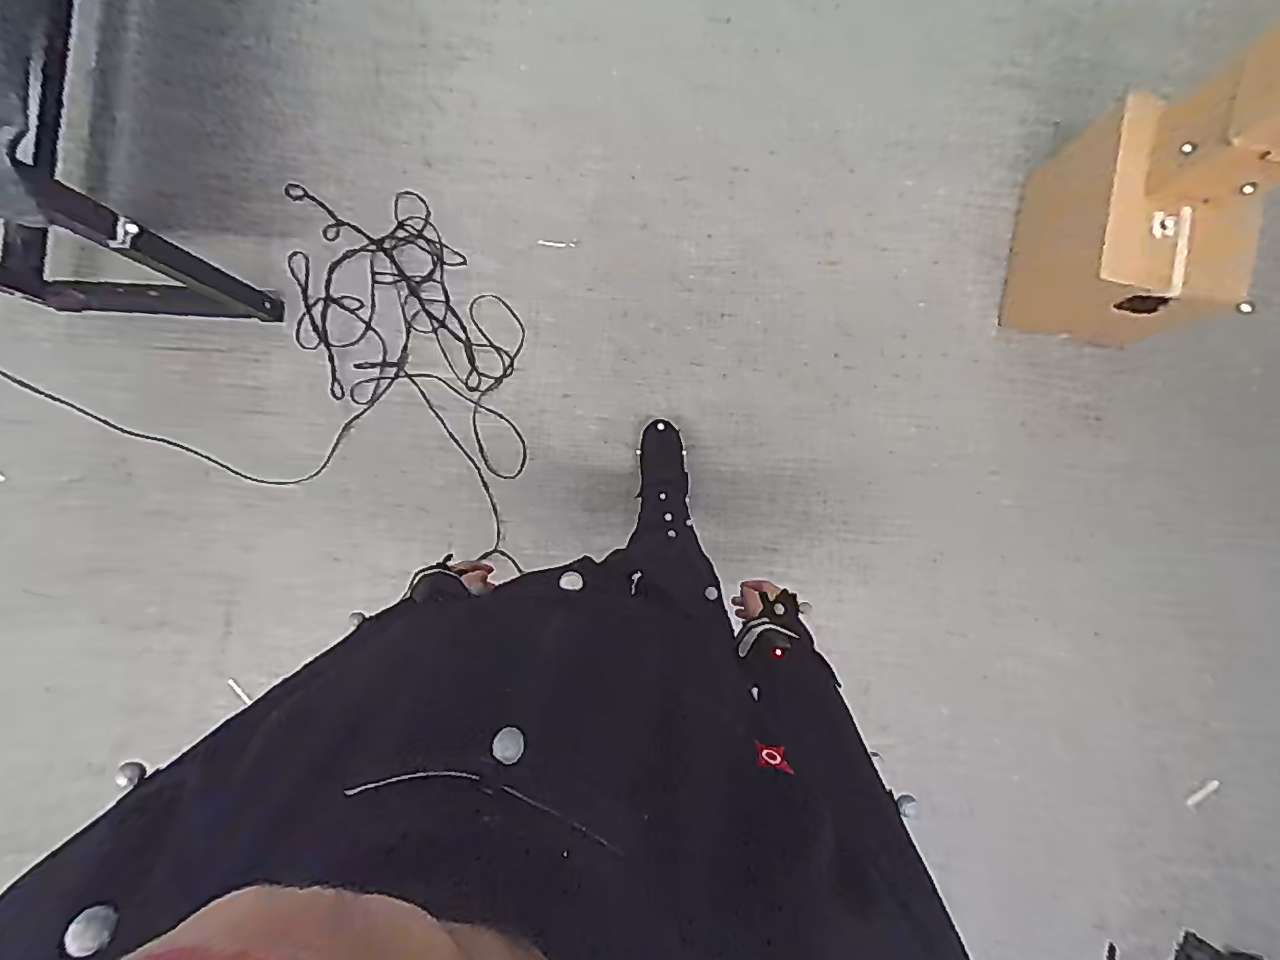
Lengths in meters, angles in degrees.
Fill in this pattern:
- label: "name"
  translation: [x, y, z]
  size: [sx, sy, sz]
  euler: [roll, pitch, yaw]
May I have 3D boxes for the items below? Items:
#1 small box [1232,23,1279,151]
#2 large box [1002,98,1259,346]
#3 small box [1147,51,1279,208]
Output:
- label: "small box"
  translation: [1.113, -0.659, 0.857]
  size: [0.168, 0.176, 0.179]
  euler: [12, 89, -1]
- label: "large box"
  translation: [1.116, -0.569, 1.259]
  size: [0.320, 0.320, 0.408]
  euler: [10, 89, 1]
- label: "small box"
  translation: [1.117, -0.646, 1.019]
  size: [0.168, 0.176, 0.179]
  euler: [10, 87, -1]
